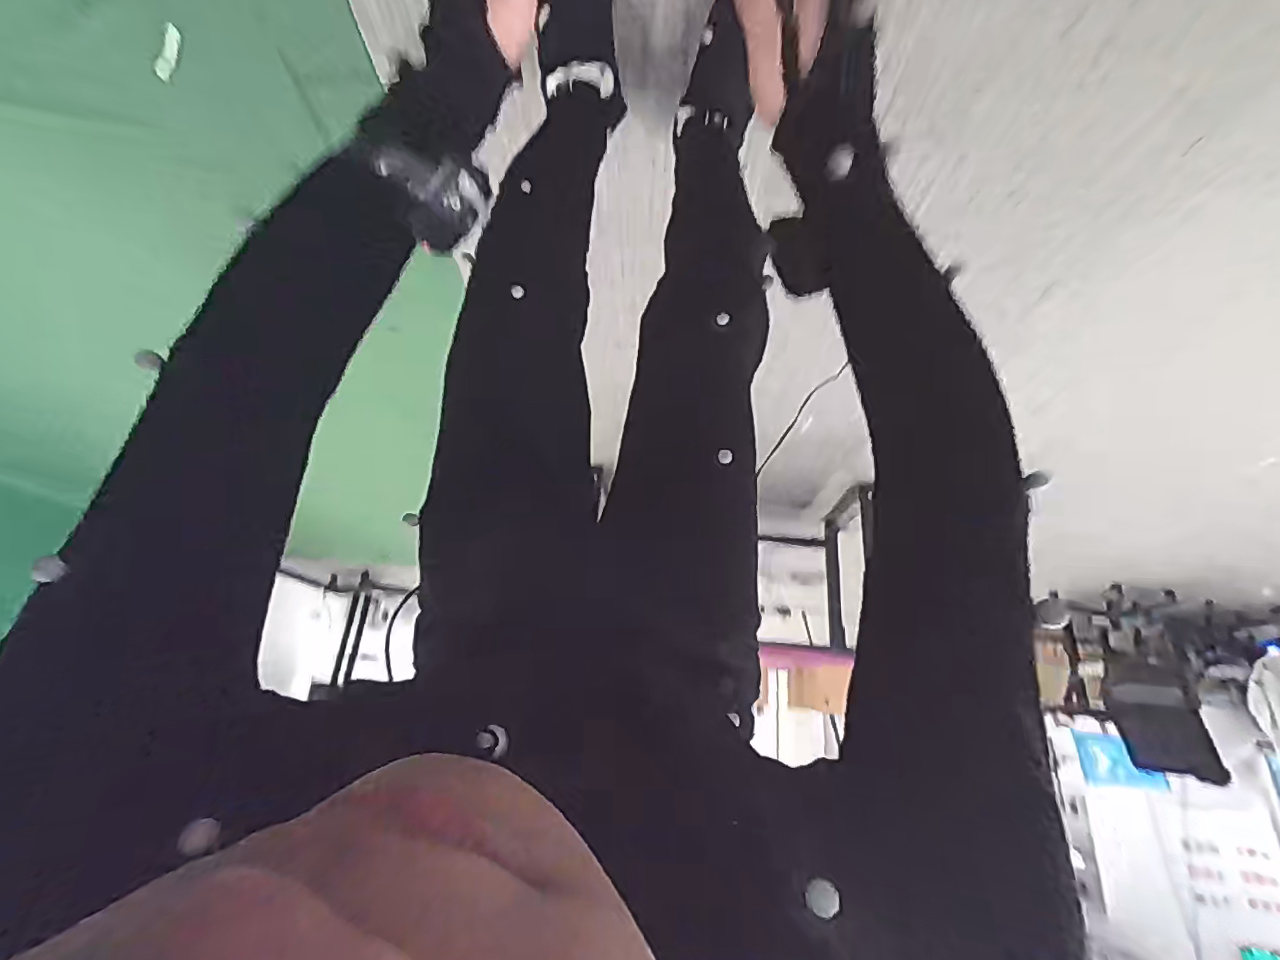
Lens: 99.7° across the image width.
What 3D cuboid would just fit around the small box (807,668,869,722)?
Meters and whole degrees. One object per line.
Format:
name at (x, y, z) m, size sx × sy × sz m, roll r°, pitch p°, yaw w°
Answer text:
small box at (0.727, 0.793, 2.004) m, size 0.179 × 0.176 × 0.168 m, roll 5°, pitch 159°, yaw 3°

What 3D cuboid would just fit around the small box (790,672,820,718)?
small box at (0.734, 0.905, 2.272) m, size 0.179 × 0.176 × 0.168 m, roll 3°, pitch 157°, yaw 6°
